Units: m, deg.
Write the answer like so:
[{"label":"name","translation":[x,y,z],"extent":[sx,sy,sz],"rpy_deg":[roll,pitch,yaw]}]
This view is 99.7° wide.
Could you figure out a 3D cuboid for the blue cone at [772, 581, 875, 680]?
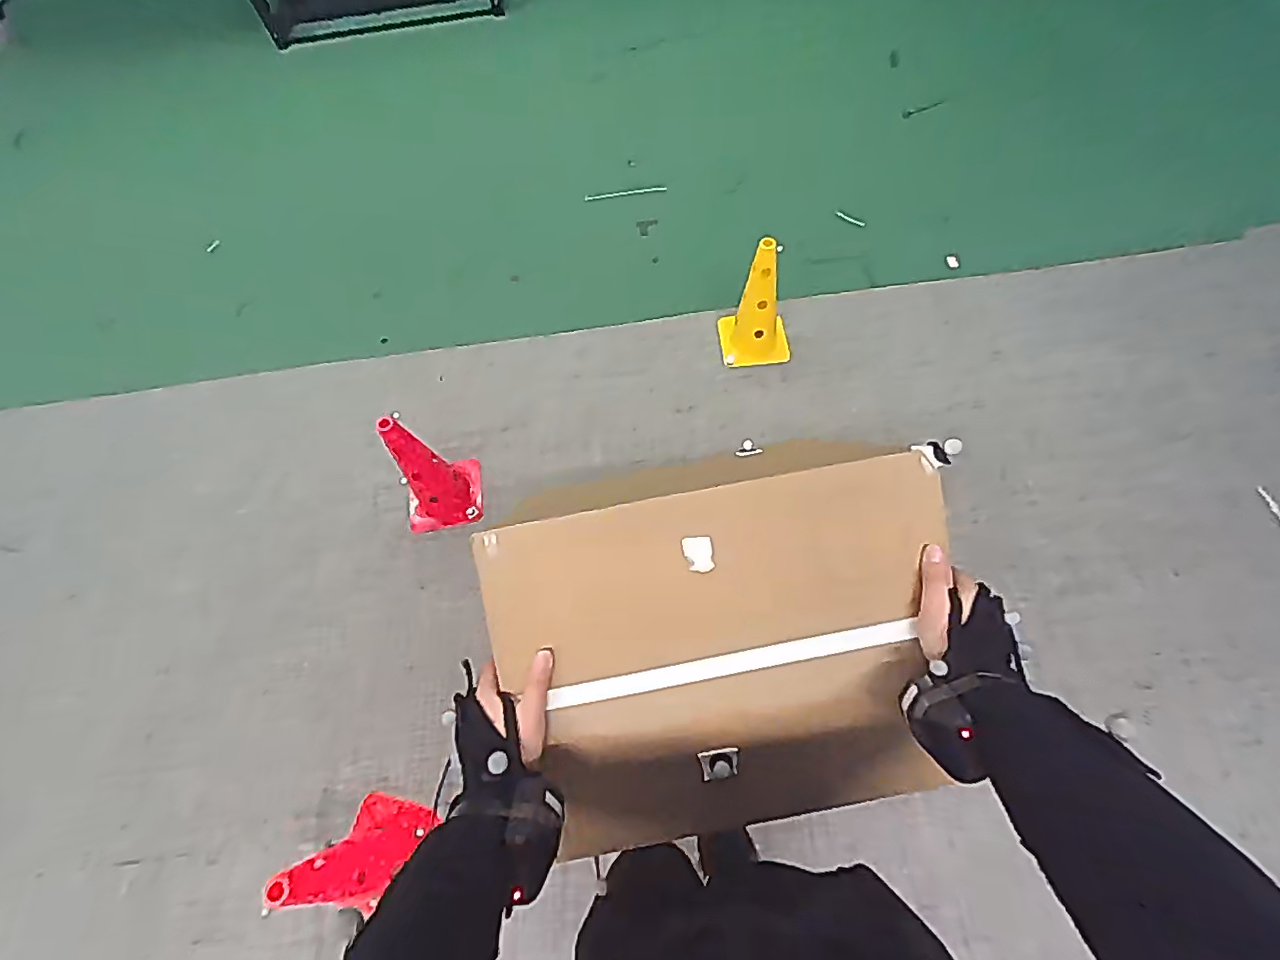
[{"label":"blue cone","translation":[0.395,0.279,1.098],"extent":[0.192,0.380,0.193],"rpy_deg":[-7,61,2]}]

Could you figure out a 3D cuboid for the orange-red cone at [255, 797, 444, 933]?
[{"label":"orange-red cone","translation":[-0.536,0.693,0.953],"extent":[0.199,0.360,0.198],"rpy_deg":[10,62,13]}]

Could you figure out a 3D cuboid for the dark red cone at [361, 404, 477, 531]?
[{"label":"dark red cone","translation":[-0.562,-0.050,1.336],"extent":[0.202,0.394,0.201],"rpy_deg":[-14,58,-2]}]
